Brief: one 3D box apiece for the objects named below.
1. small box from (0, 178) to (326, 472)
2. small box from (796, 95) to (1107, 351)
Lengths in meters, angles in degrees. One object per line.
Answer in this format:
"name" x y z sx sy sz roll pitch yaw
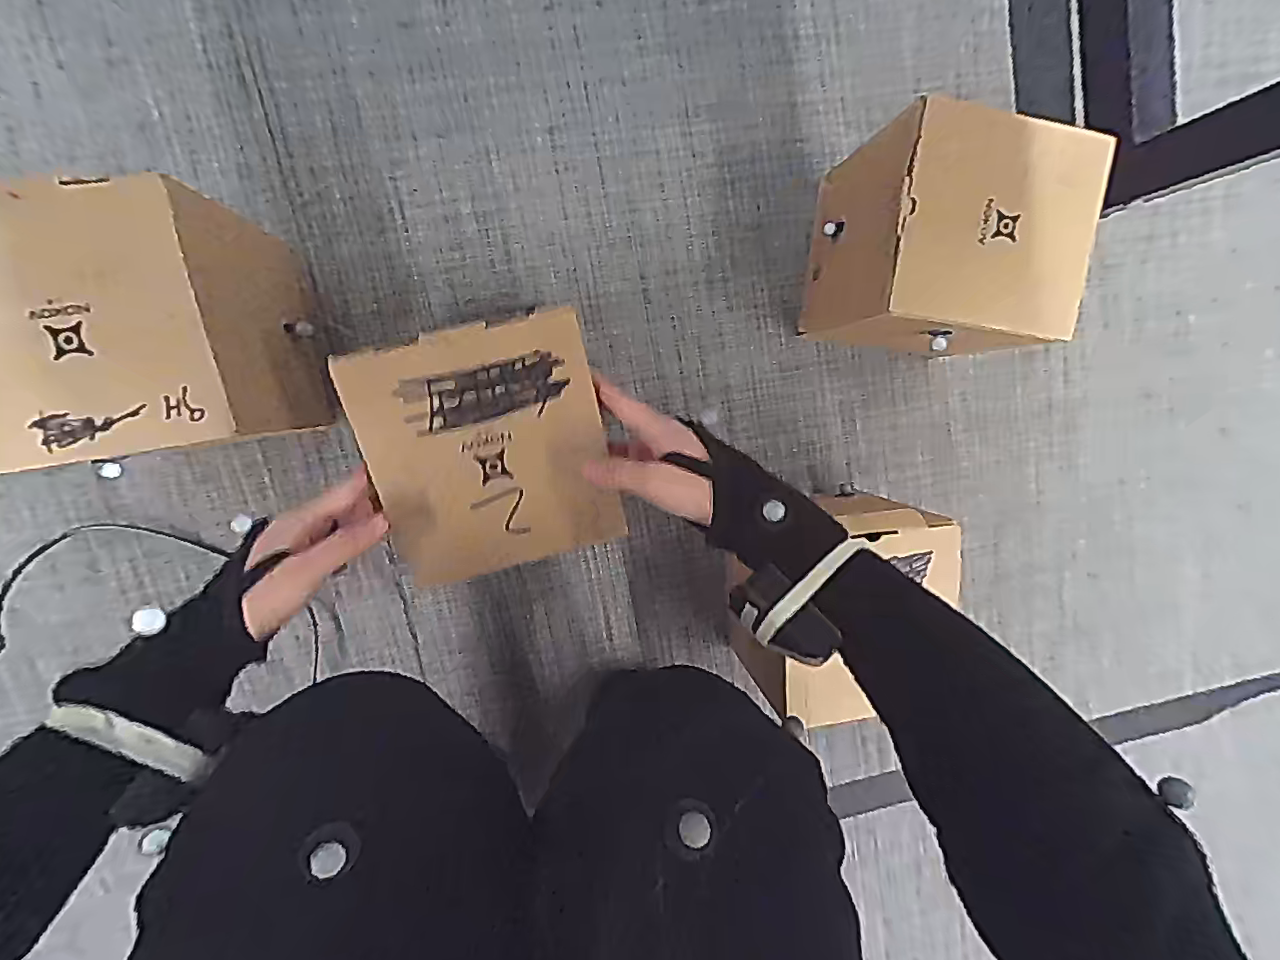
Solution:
"small box" -0.383 -0.108 0.430 0.168 0.176 0.179 -10 98 -7
"small box" 0.275 -0.220 0.517 0.179 0.176 0.168 5 97 -9
